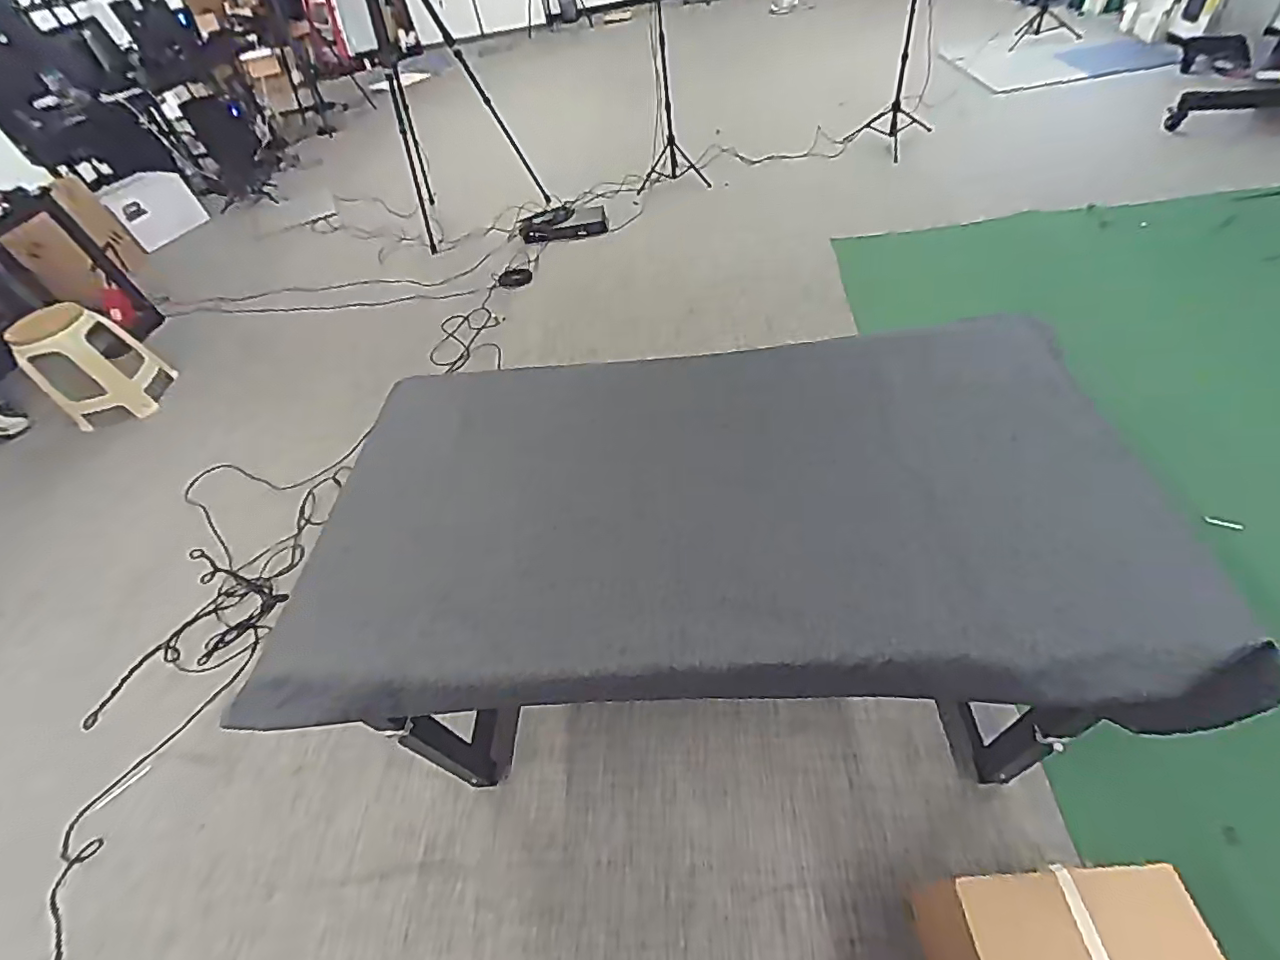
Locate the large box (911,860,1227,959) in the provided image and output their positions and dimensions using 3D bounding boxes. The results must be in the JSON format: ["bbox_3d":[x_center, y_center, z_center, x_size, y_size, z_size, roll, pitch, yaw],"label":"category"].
[{"bbox_3d":[0.655,0.820,0.787,0.320,0.320,0.408,-8,50,5],"label":"large box"}]
